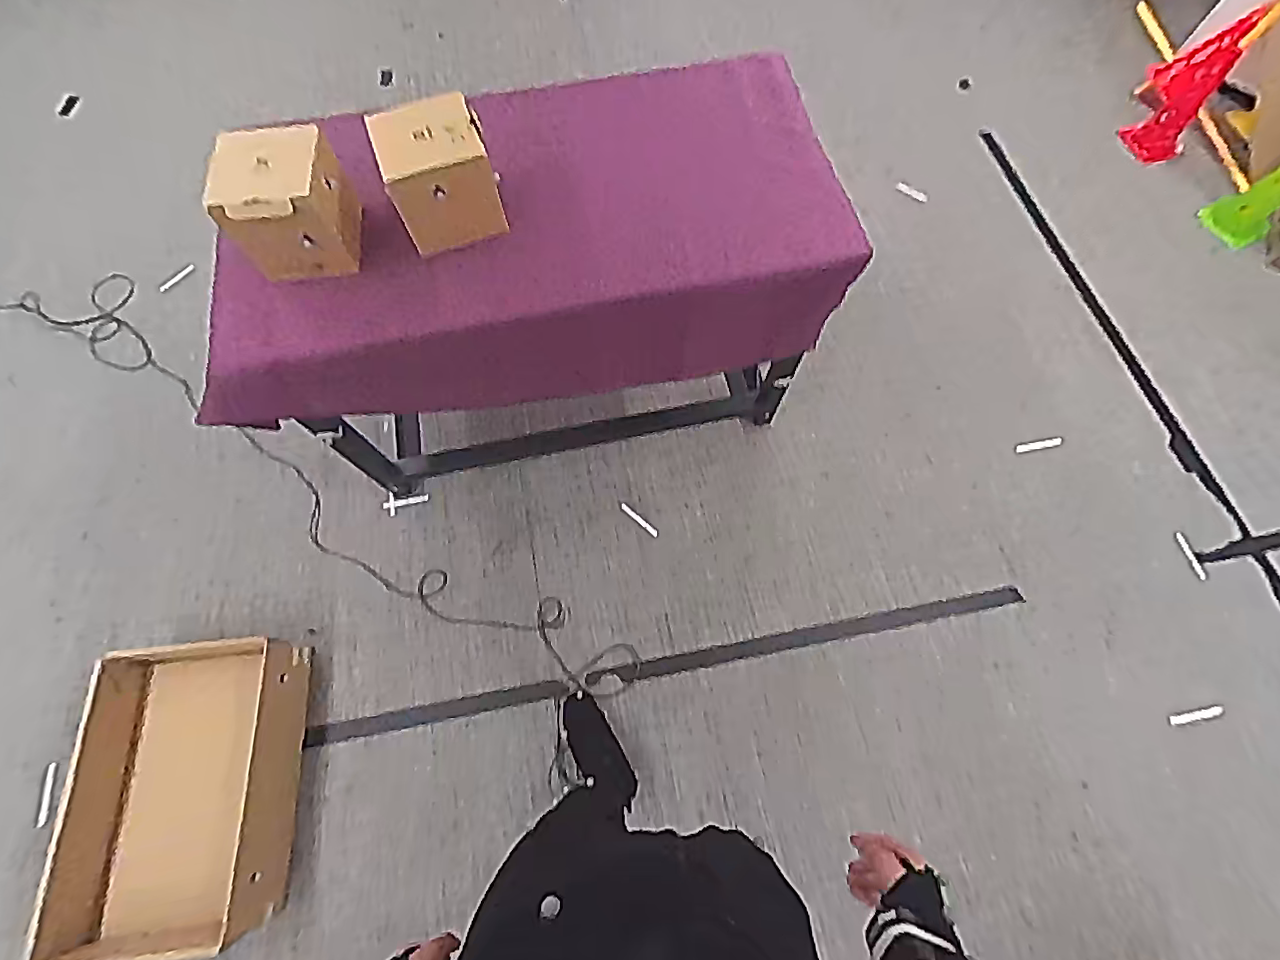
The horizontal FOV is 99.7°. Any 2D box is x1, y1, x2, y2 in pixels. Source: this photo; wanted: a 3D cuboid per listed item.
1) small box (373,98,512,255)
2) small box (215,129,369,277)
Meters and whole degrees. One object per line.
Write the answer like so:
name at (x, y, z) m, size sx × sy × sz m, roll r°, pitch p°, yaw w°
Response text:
small box at (-0.352, -0.544, 0.987) m, size 0.179 × 0.176 × 0.168 m, roll -20°, pitch 70°, yaw -9°
small box at (-0.604, -0.483, 0.964) m, size 0.168 × 0.176 × 0.179 m, roll -6°, pitch 68°, yaw -3°
